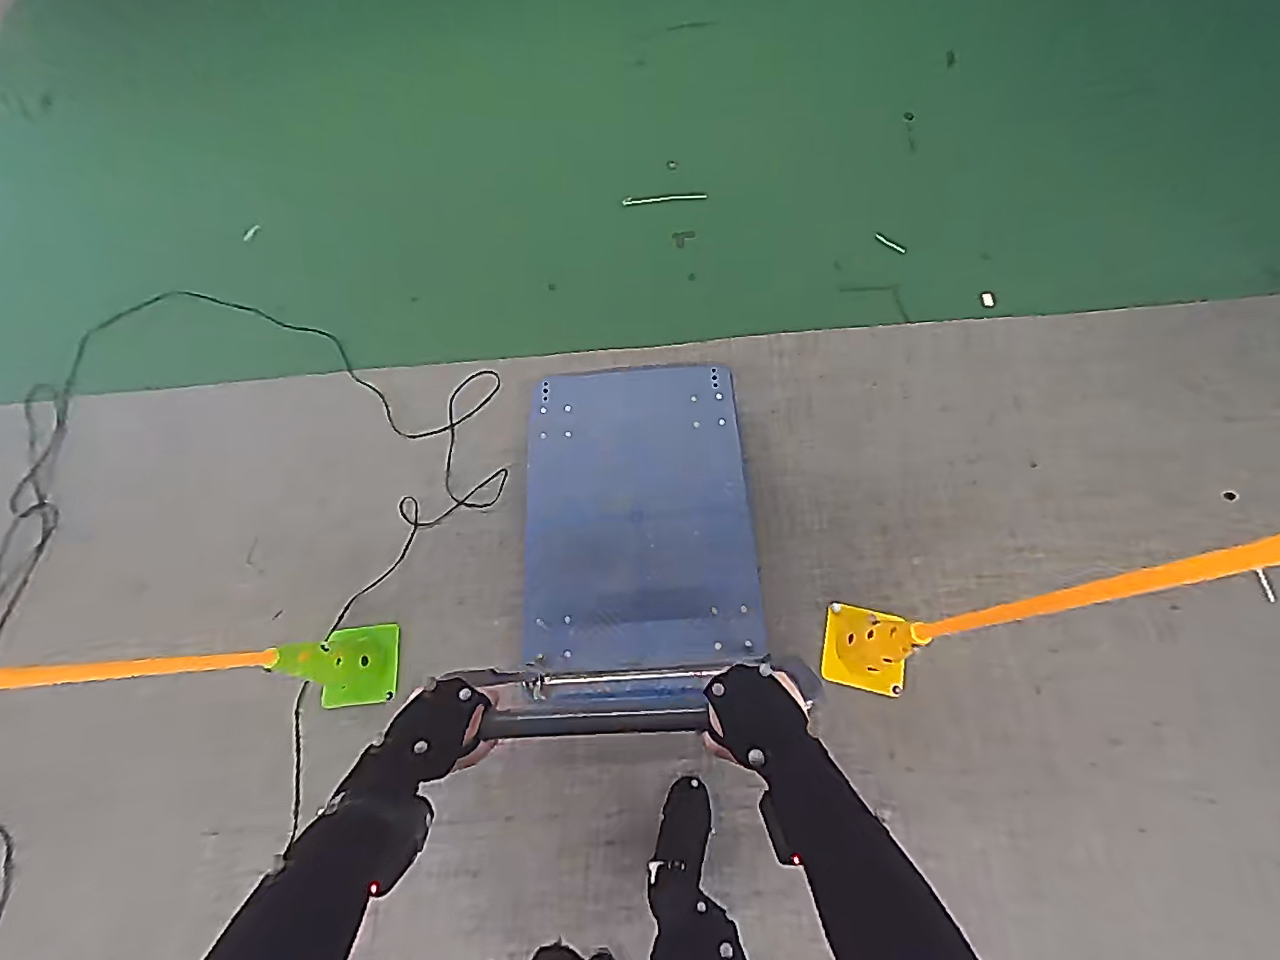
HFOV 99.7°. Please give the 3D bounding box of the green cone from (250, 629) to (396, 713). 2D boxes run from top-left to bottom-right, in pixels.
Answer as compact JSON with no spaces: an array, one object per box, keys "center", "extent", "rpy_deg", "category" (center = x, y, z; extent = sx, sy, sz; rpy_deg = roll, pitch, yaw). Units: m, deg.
[{"center":[-0.769,0.443,1.287],"extent":[0.202,0.368,0.200],"rpy_deg":[-8,67,3],"category":"green cone"}]
